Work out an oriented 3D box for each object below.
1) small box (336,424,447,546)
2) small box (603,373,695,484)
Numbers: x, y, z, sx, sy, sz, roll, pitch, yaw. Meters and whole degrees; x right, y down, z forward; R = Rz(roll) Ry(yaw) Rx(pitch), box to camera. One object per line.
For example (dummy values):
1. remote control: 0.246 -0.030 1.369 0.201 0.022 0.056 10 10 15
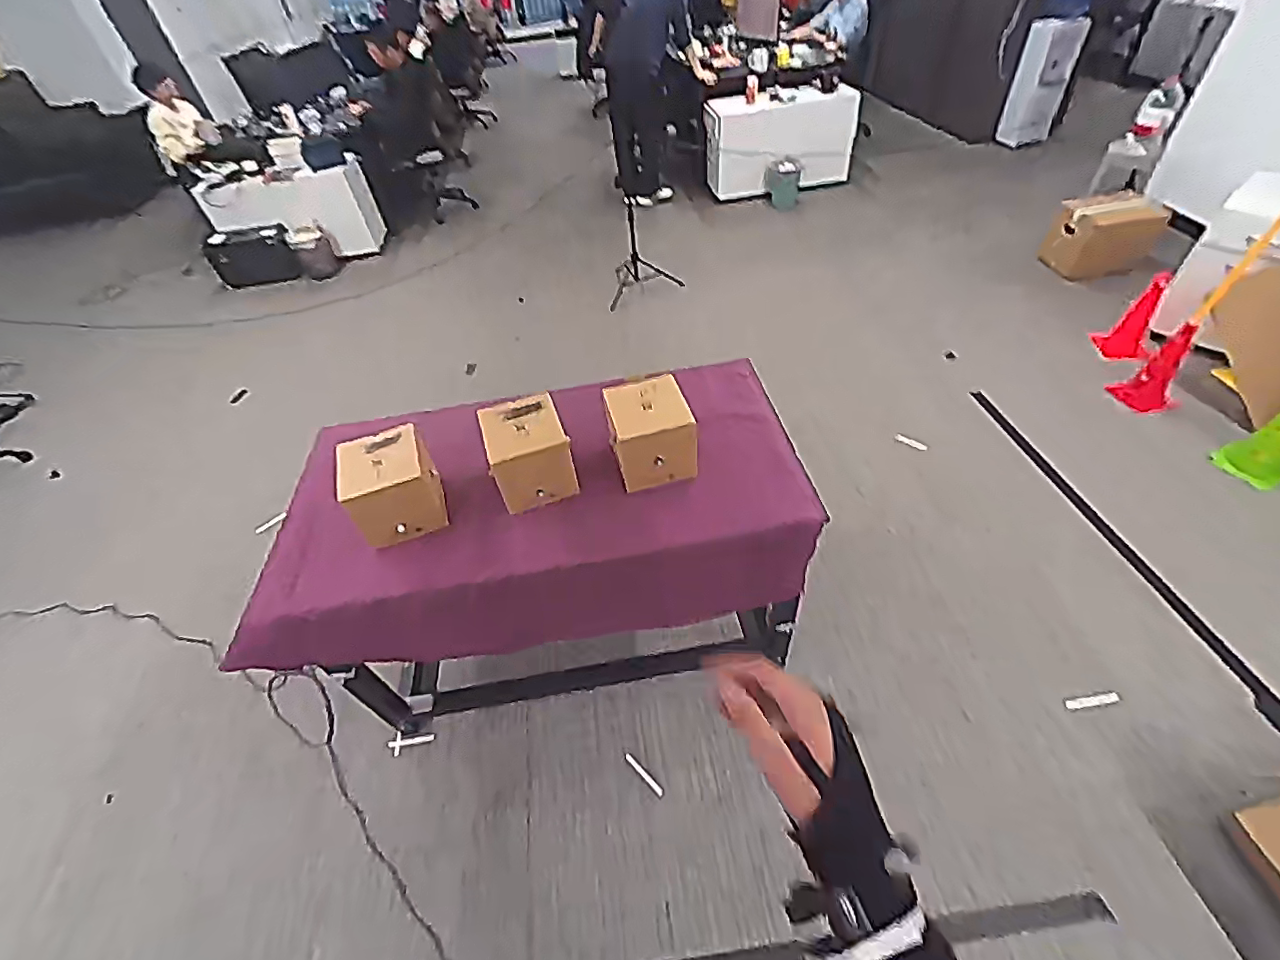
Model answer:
1. small box: -0.536 0.011 1.177 0.168 0.176 0.179 -20 48 -11
2. small box: 0.023 -0.109 1.216 0.168 0.176 0.179 -14 46 -6
